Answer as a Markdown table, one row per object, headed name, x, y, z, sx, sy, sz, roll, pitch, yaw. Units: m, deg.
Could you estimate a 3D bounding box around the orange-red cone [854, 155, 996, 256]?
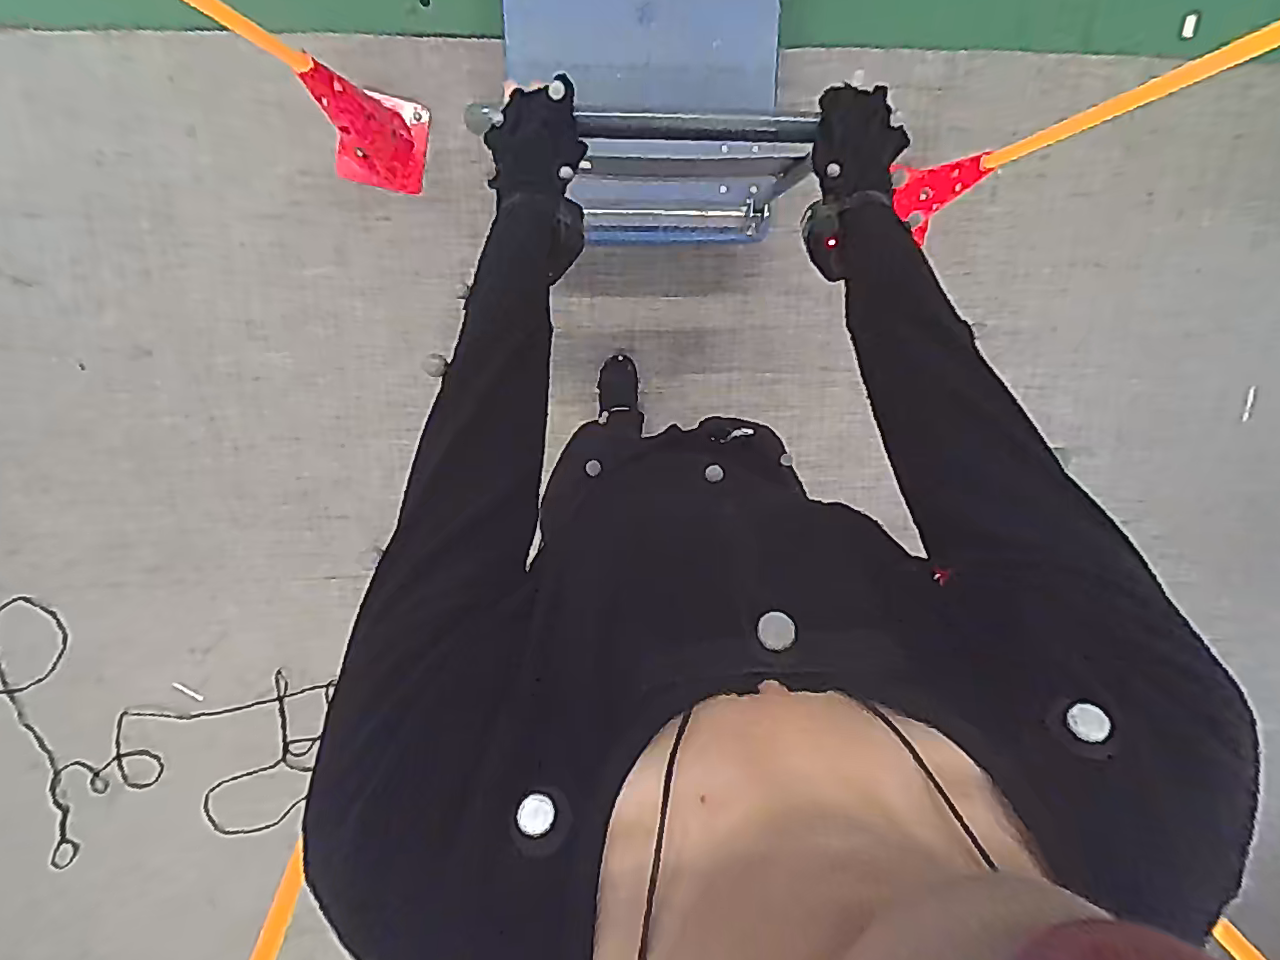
| name | x | y | z | sx | sy | sz | roll | pitch | yaw |
| --- | --- | --- | --- | --- | --- | --- | --- | --- | --- |
| orange-red cone | 0.677 | -0.658 | 1.234 | 0.198 | 0.360 | 0.199 | 10 | 103 | -5 |
